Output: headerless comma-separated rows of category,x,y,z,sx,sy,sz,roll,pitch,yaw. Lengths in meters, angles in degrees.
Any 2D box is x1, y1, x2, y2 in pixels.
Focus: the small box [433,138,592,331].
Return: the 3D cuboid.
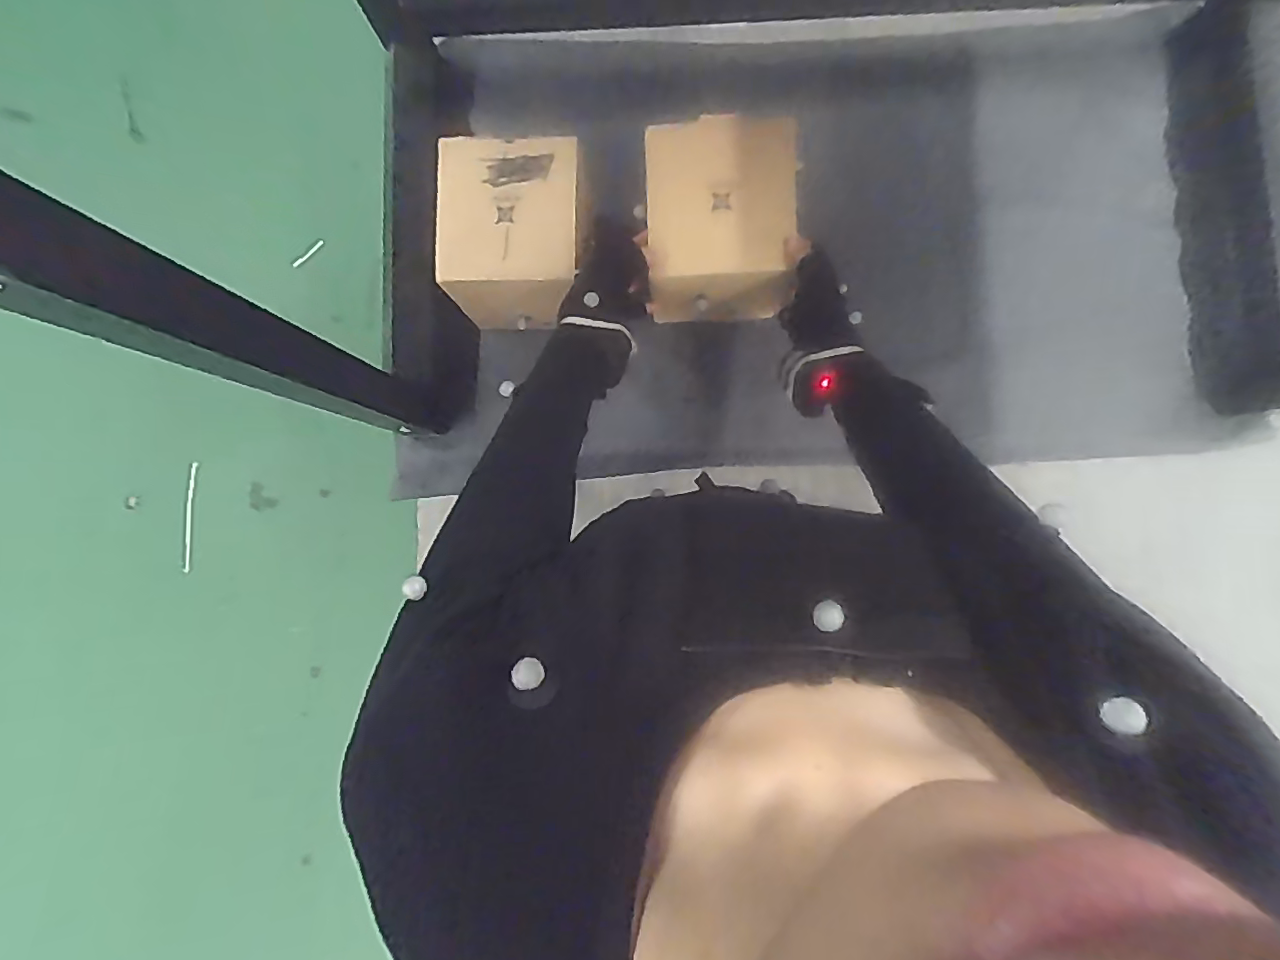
small box,-0.155,-0.311,0.711,0.168,0.176,0.179,0,86,2
